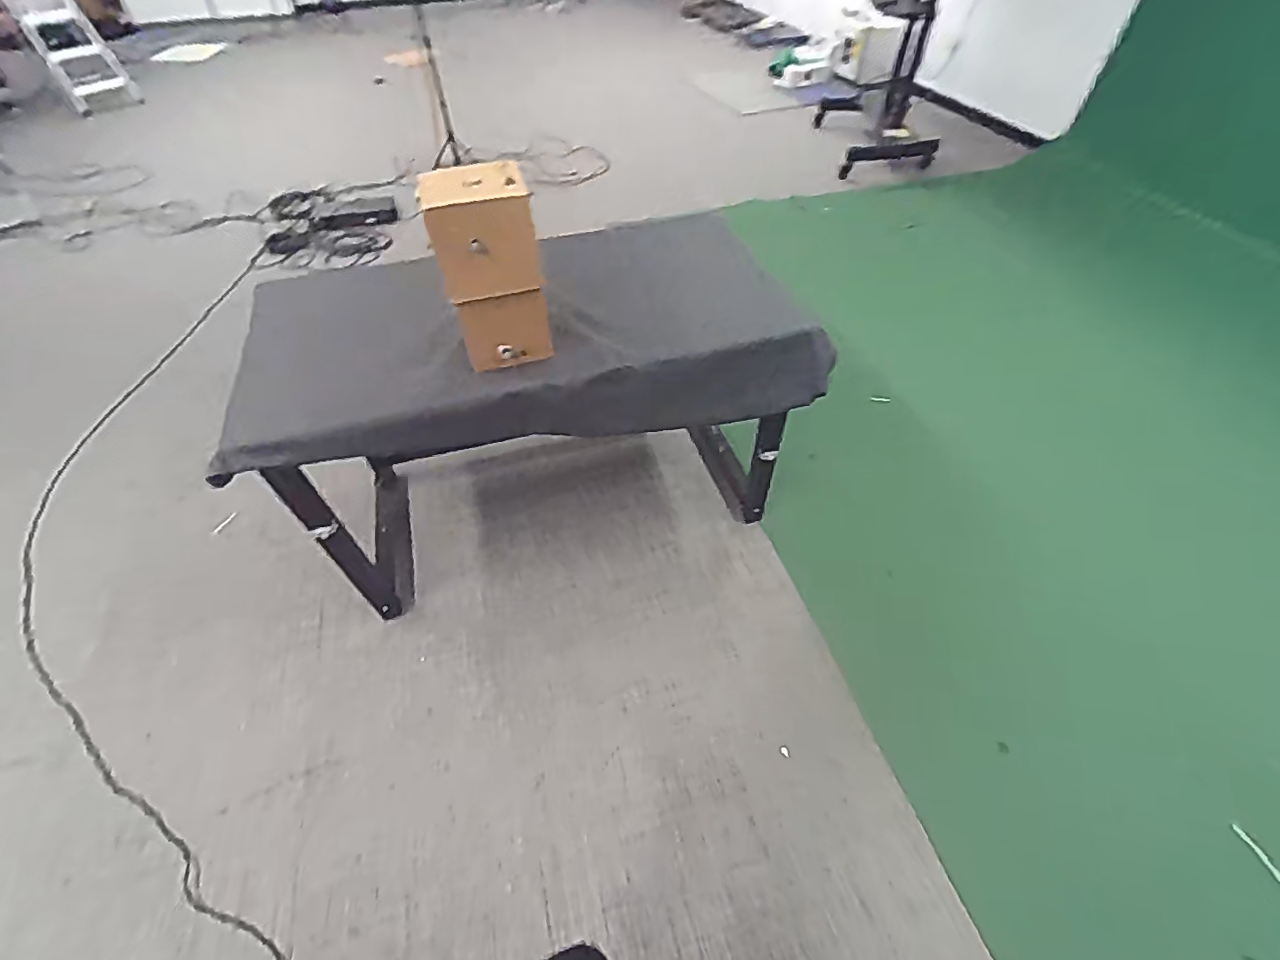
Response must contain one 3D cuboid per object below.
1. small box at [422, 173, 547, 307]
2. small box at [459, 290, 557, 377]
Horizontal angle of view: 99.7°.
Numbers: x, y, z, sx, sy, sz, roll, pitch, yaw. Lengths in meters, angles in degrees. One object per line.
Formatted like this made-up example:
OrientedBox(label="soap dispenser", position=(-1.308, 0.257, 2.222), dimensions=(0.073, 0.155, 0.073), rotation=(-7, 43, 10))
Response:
OrientedBox(label="small box", position=(-0.282, -0.437, 0.991), dimensions=(0.179, 0.176, 0.168), rotation=(-16, 48, -11))
OrientedBox(label="small box", position=(-0.279, -0.341, 1.121), dimensions=(0.168, 0.176, 0.179), rotation=(-16, 51, -10))
